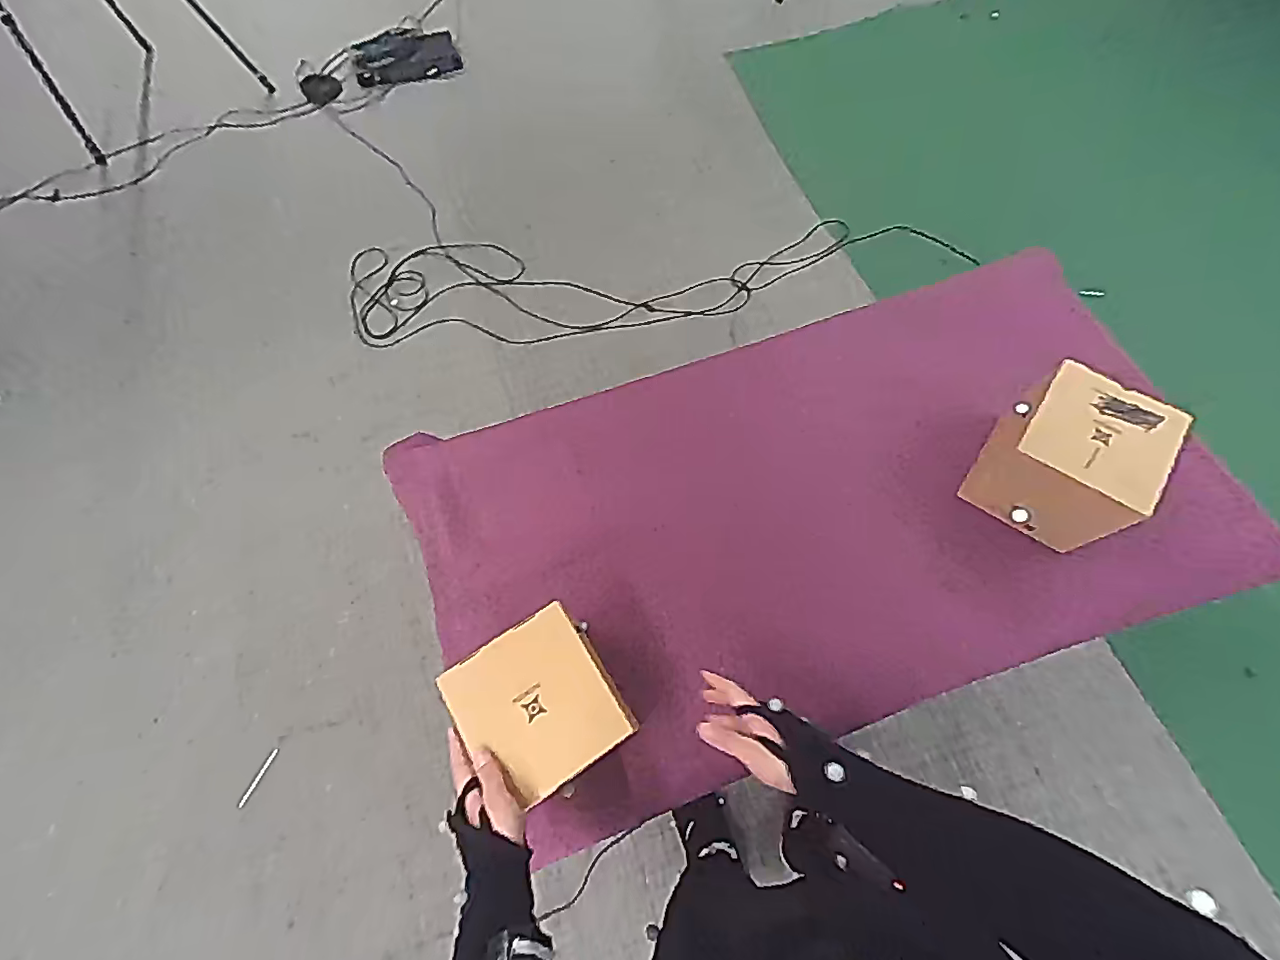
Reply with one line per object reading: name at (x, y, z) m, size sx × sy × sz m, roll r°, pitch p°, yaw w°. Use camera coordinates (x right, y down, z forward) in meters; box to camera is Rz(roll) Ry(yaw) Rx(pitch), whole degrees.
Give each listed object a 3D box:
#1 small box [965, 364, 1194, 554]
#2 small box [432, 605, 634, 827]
small box at (0.607, -0.023, 0.772) m, size 0.168 × 0.176 × 0.179 m, roll 34°, pitch 73°, yaw 16°
small box at (-0.120, 0.284, 0.672) m, size 0.168 × 0.176 × 0.179 m, roll -32°, pitch 68°, yaw -11°
